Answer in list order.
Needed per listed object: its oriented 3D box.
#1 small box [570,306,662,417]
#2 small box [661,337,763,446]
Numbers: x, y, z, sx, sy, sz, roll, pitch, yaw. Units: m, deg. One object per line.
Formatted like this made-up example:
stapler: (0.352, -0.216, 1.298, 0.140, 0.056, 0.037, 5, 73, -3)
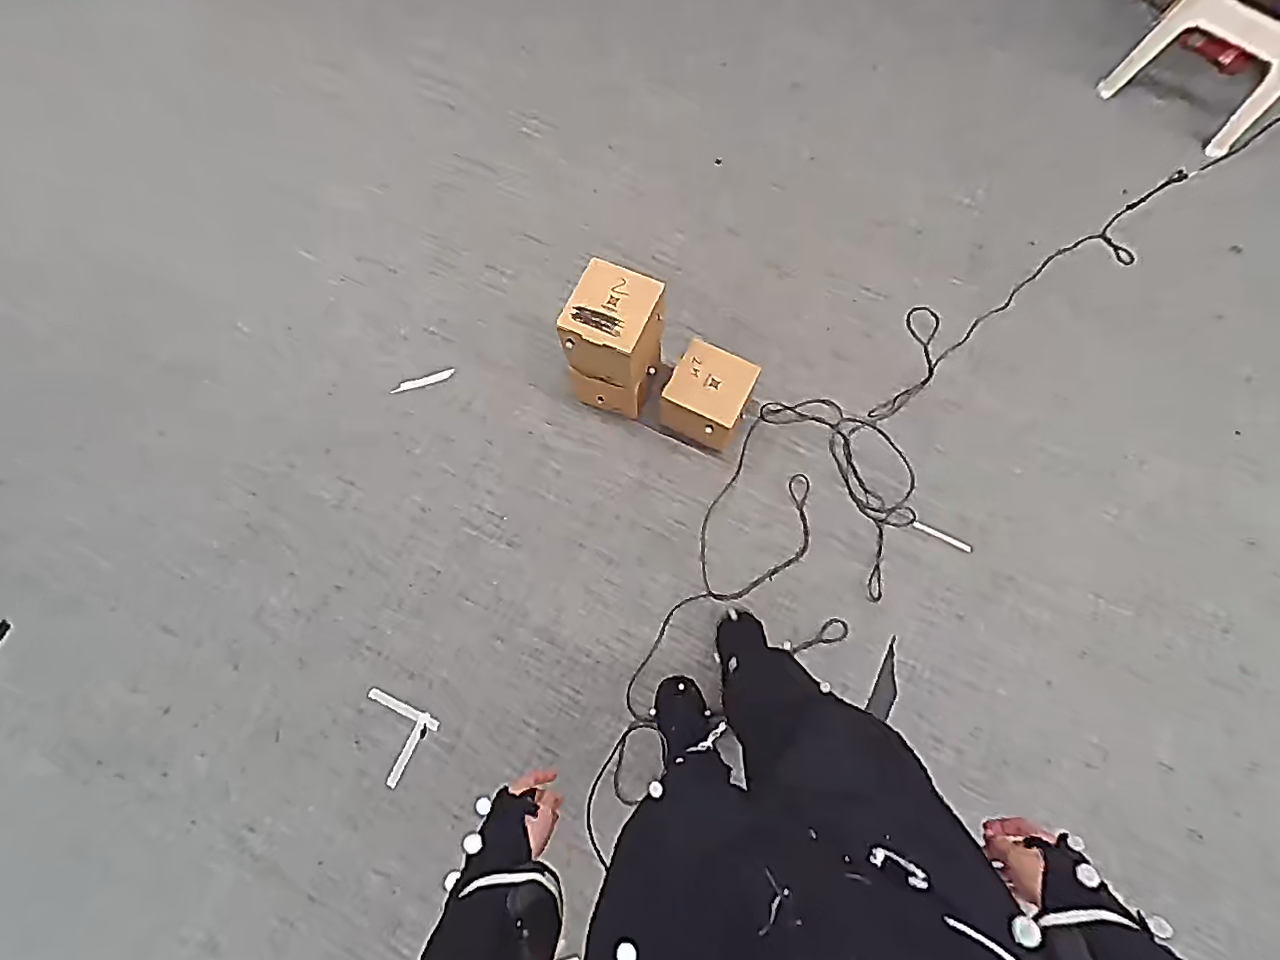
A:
small box: (-0.053, -0.280, 1.302, 0.168, 0.176, 0.179, 19, 76, 7)
small box: (0.163, -0.197, 1.268, 0.179, 0.176, 0.168, 27, 77, 9)
